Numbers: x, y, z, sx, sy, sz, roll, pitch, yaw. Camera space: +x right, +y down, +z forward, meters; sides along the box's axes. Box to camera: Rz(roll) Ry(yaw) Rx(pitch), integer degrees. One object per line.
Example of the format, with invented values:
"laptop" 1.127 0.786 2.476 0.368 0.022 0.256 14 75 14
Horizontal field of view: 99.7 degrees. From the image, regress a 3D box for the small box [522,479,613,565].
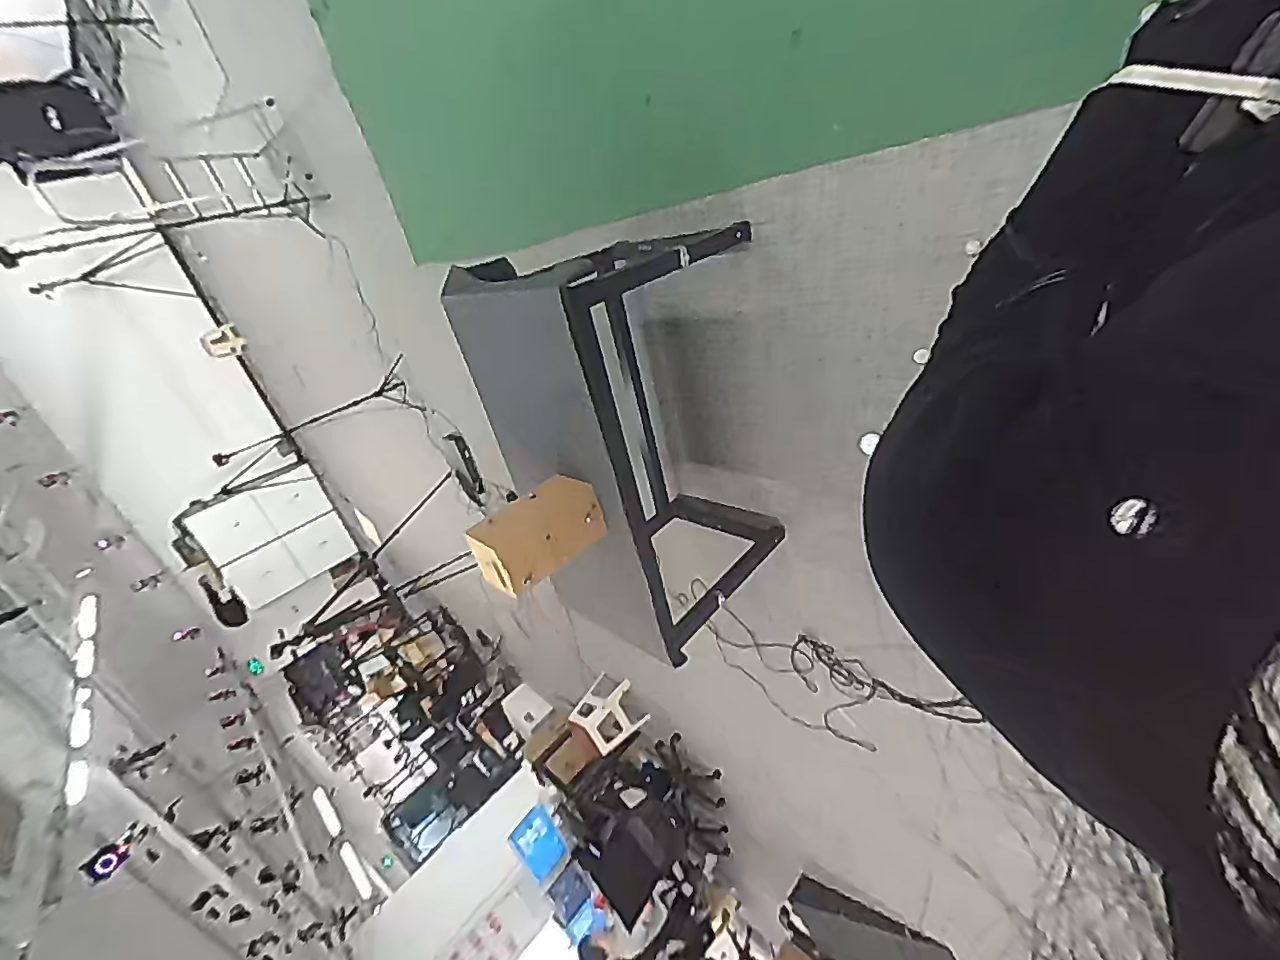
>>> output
"small box" -0.206 0.113 1.566 0.179 0.176 0.168 14 130 45
